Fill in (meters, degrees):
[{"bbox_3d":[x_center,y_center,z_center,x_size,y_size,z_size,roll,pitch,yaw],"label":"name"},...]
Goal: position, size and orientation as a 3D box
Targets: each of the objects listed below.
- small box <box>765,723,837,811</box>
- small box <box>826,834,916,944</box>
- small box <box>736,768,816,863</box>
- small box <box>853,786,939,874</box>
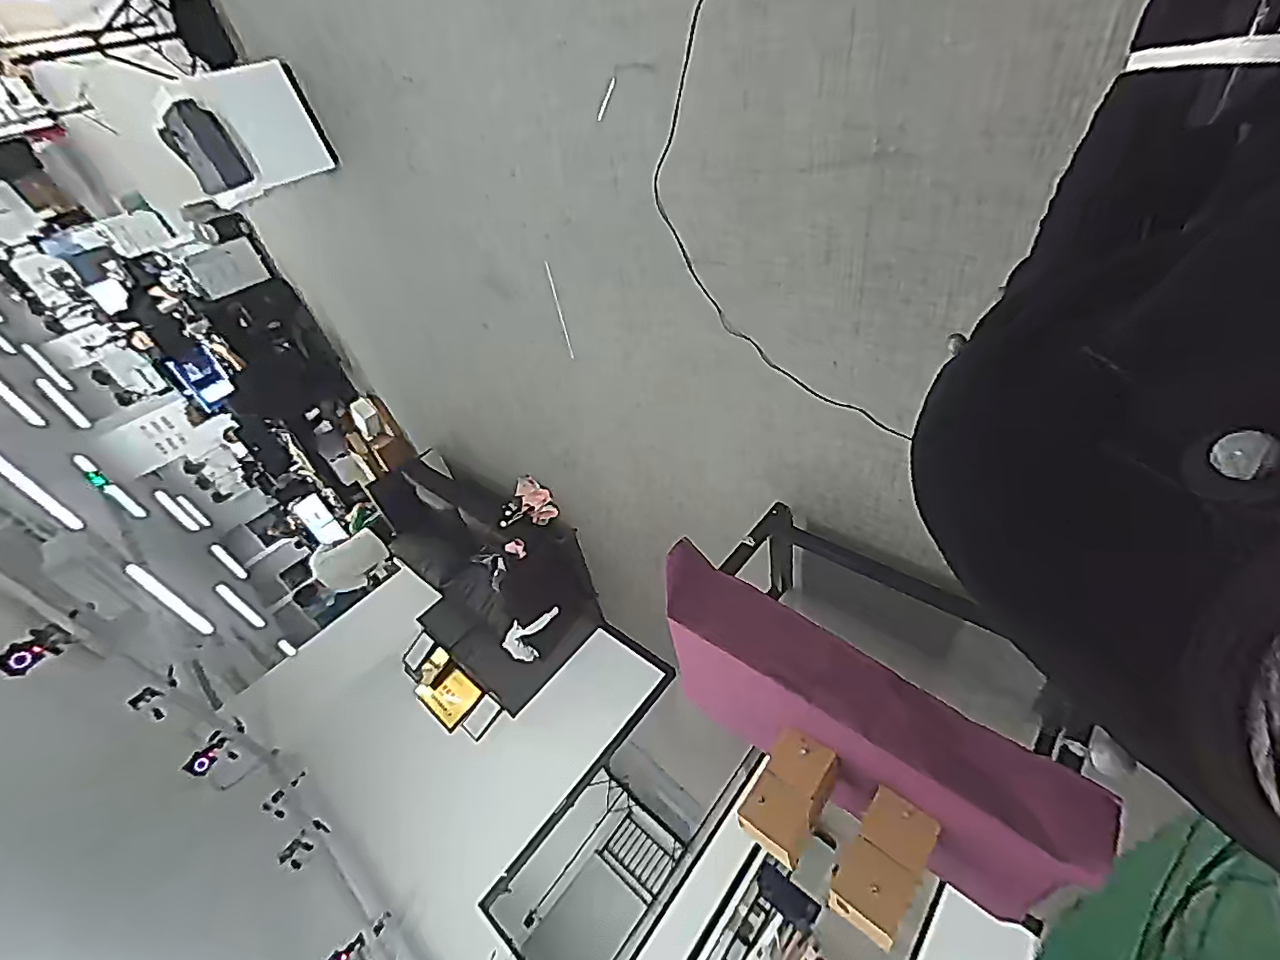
[{"bbox_3d":[0.535,0.948,1.782,0.168,0.176,0.179,18,138,41],"label":"small box"},{"bbox_3d":[0.646,1.138,1.521,0.179,0.176,0.168,23,142,37],"label":"small box"},{"bbox_3d":[0.430,1.041,1.698,0.179,0.176,0.168,20,141,40],"label":"small box"},{"bbox_3d":[0.753,1.043,1.601,0.179,0.176,0.168,23,143,38],"label":"small box"}]
